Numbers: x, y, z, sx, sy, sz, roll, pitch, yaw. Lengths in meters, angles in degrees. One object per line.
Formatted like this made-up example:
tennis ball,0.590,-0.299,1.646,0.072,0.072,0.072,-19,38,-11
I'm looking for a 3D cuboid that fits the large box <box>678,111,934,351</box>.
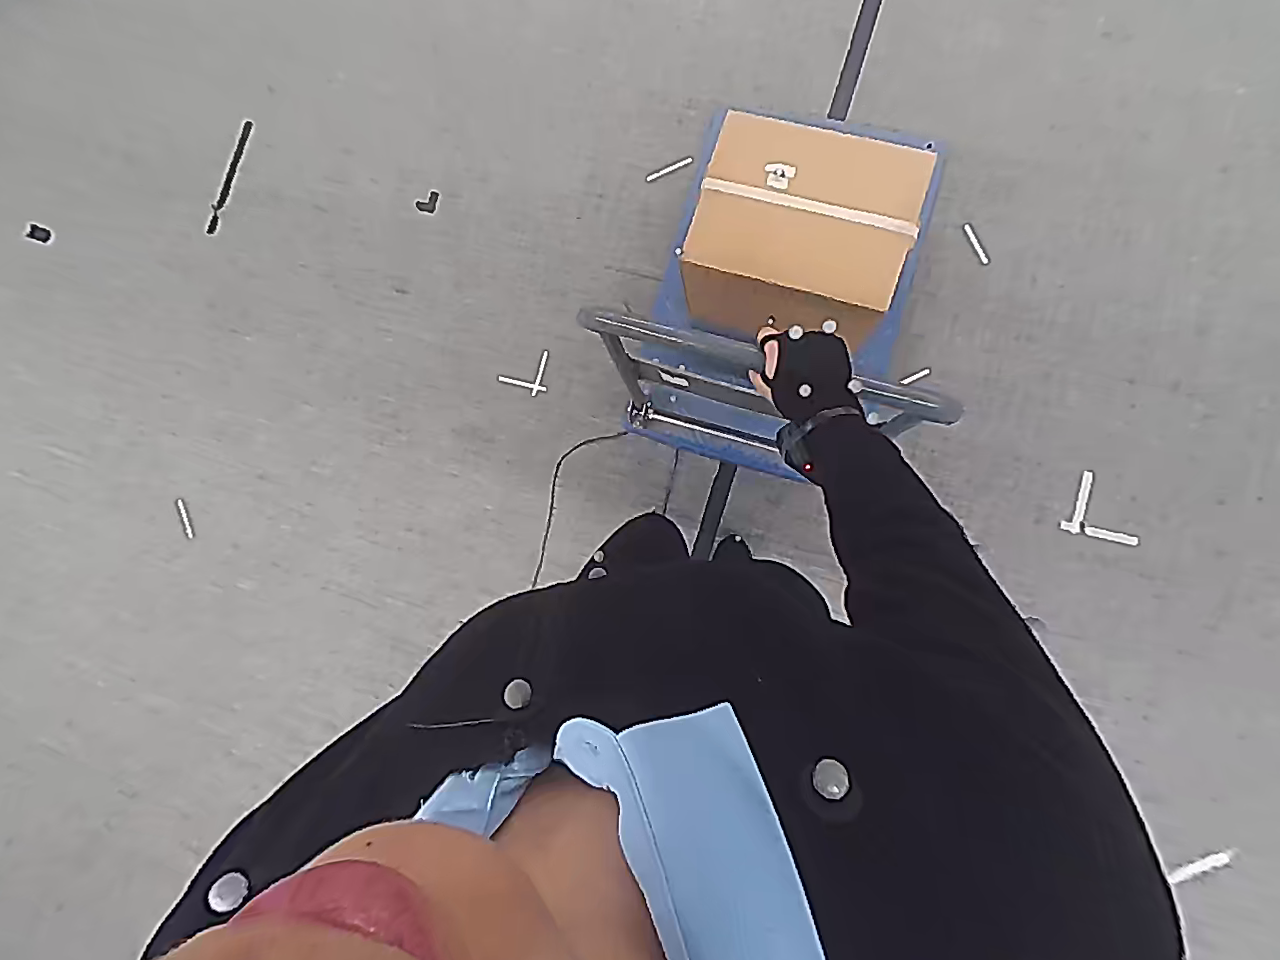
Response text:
large box,0.330,-0.506,1.157,0.408,0.320,0.320,18,89,10
